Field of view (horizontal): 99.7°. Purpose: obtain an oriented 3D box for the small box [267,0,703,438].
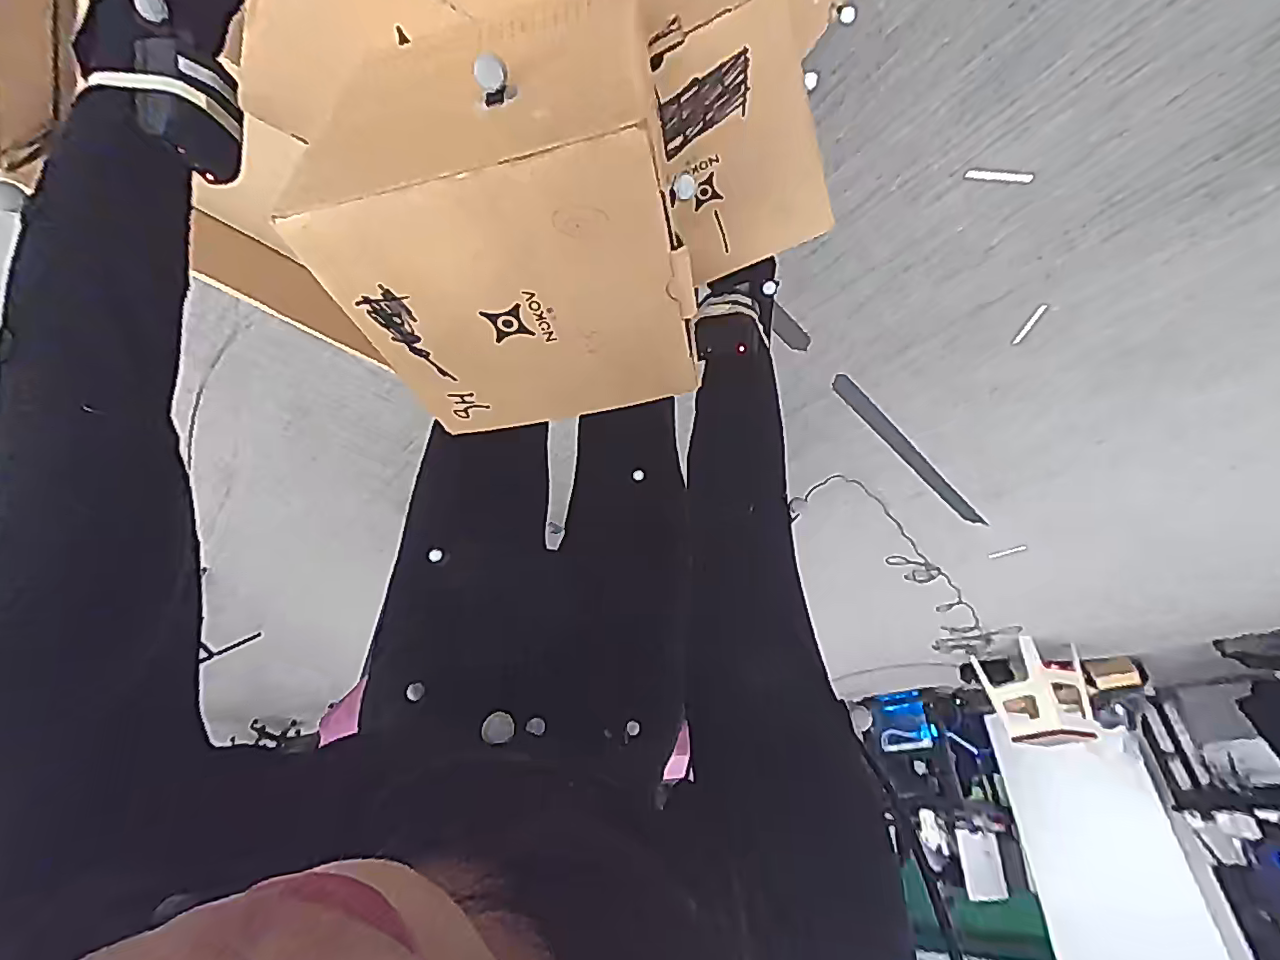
[{"bbox_3d":[-0.067,-0.152,0.326,0.179,0.176,0.168,-10,147,8],"label":"small box"}]
